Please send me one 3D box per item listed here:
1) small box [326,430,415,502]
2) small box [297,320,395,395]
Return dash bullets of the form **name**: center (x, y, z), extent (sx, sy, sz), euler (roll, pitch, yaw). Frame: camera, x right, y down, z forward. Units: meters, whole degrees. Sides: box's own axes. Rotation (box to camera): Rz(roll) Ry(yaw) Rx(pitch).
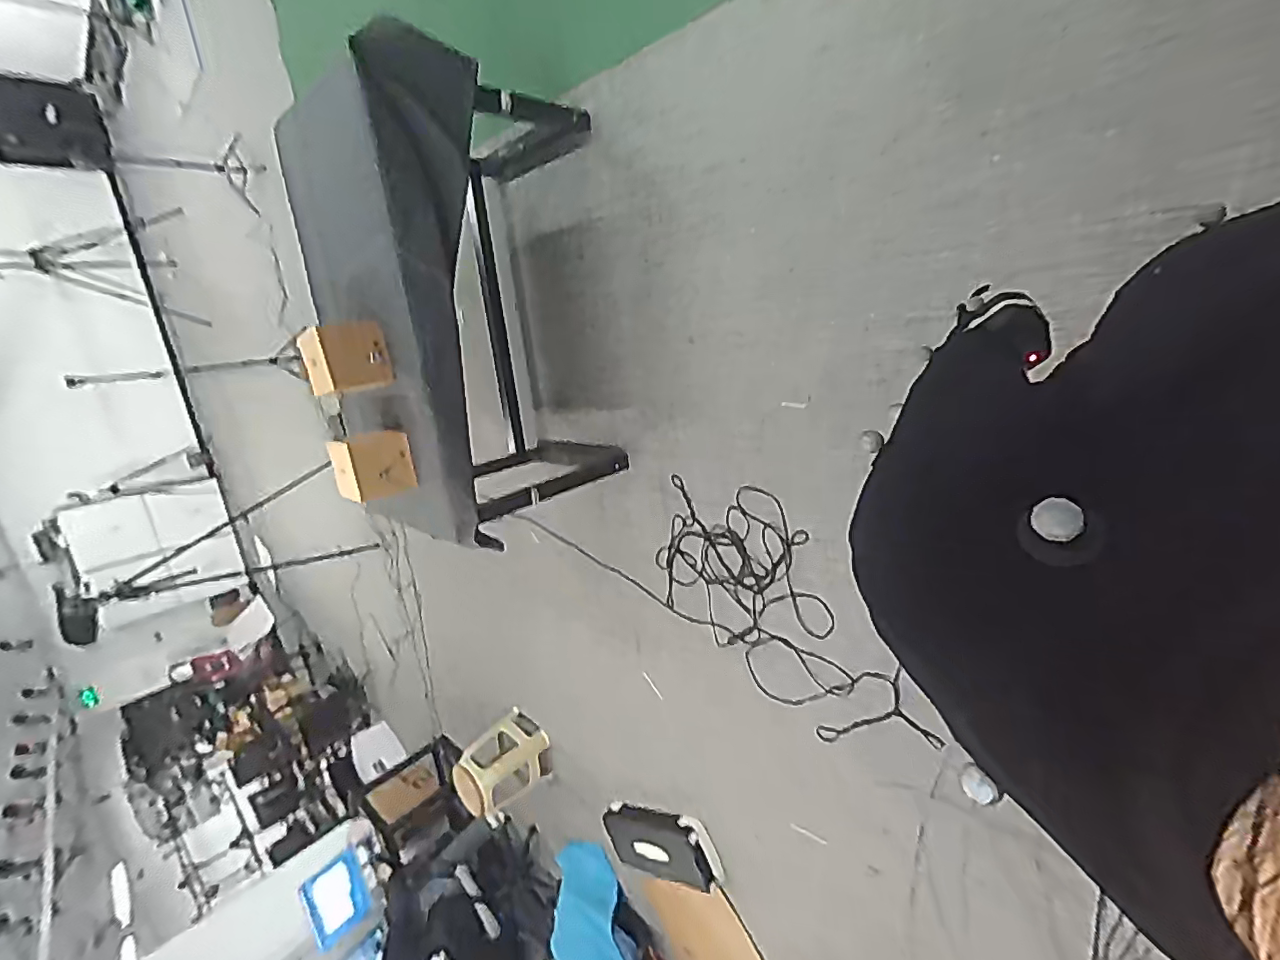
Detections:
- **small box**: center (-0.769, -0.047, 1.558), extent (0.179, 0.176, 0.168), euler (7, 110, 44)
- **small box**: center (-0.800, -0.334, 1.478), extent (0.179, 0.176, 0.168), euler (-1, 106, 44)
